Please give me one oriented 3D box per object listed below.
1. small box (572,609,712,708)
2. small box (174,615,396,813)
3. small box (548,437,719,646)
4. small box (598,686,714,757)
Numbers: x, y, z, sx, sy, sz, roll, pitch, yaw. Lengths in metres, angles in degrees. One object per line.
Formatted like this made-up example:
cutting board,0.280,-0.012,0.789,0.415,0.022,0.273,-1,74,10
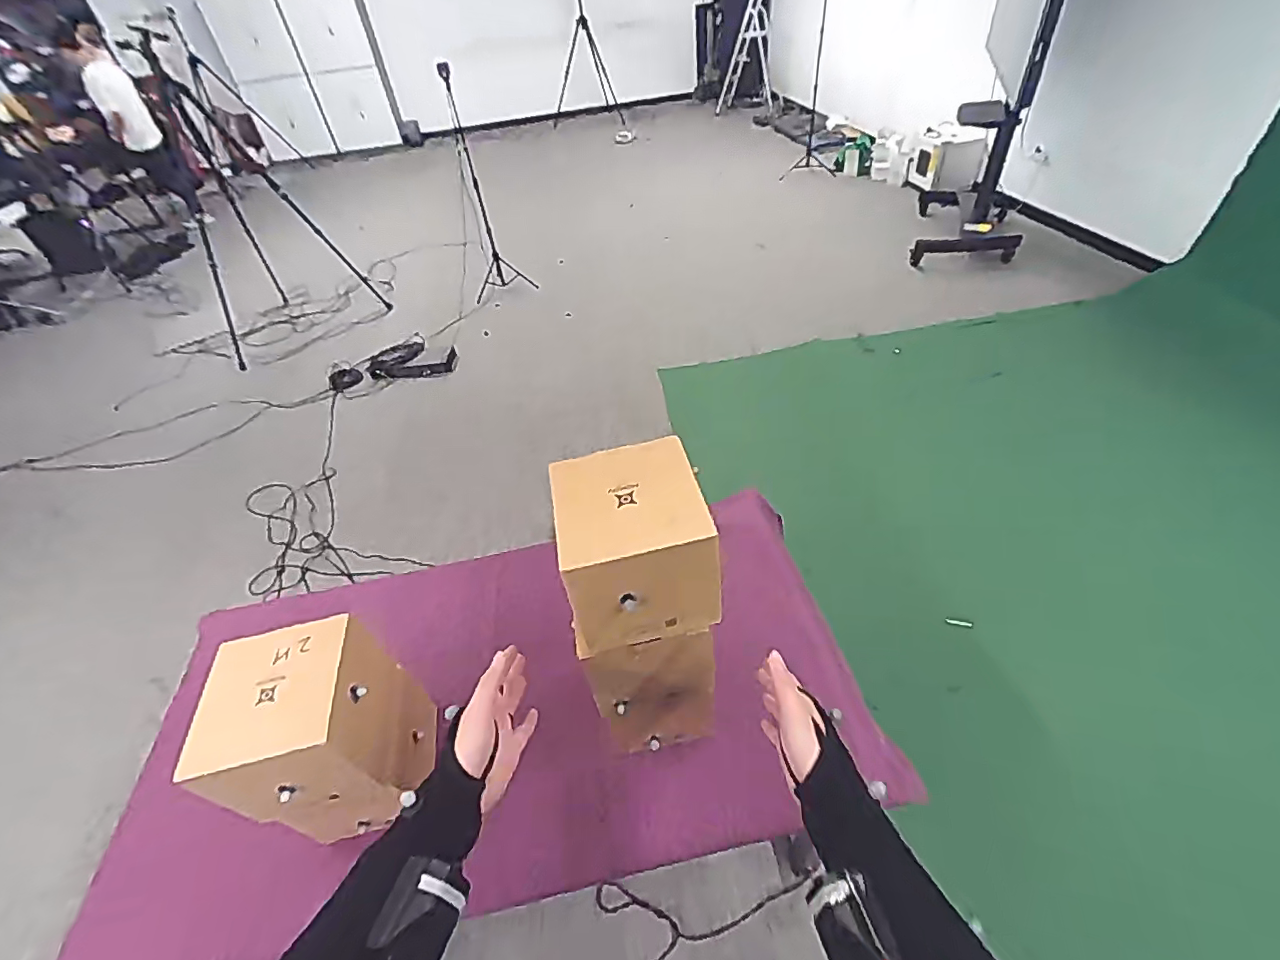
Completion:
small box,0.001,0.200,0.761,0.168,0.176,0.179,-12,42,-2
small box,-0.438,0.311,0.707,0.168,0.176,0.179,-12,44,-6
small box,-0.007,0.079,0.652,0.168,0.176,0.179,-13,42,-3
small box,0.019,0.316,0.875,0.168,0.176,0.179,-11,43,-2
